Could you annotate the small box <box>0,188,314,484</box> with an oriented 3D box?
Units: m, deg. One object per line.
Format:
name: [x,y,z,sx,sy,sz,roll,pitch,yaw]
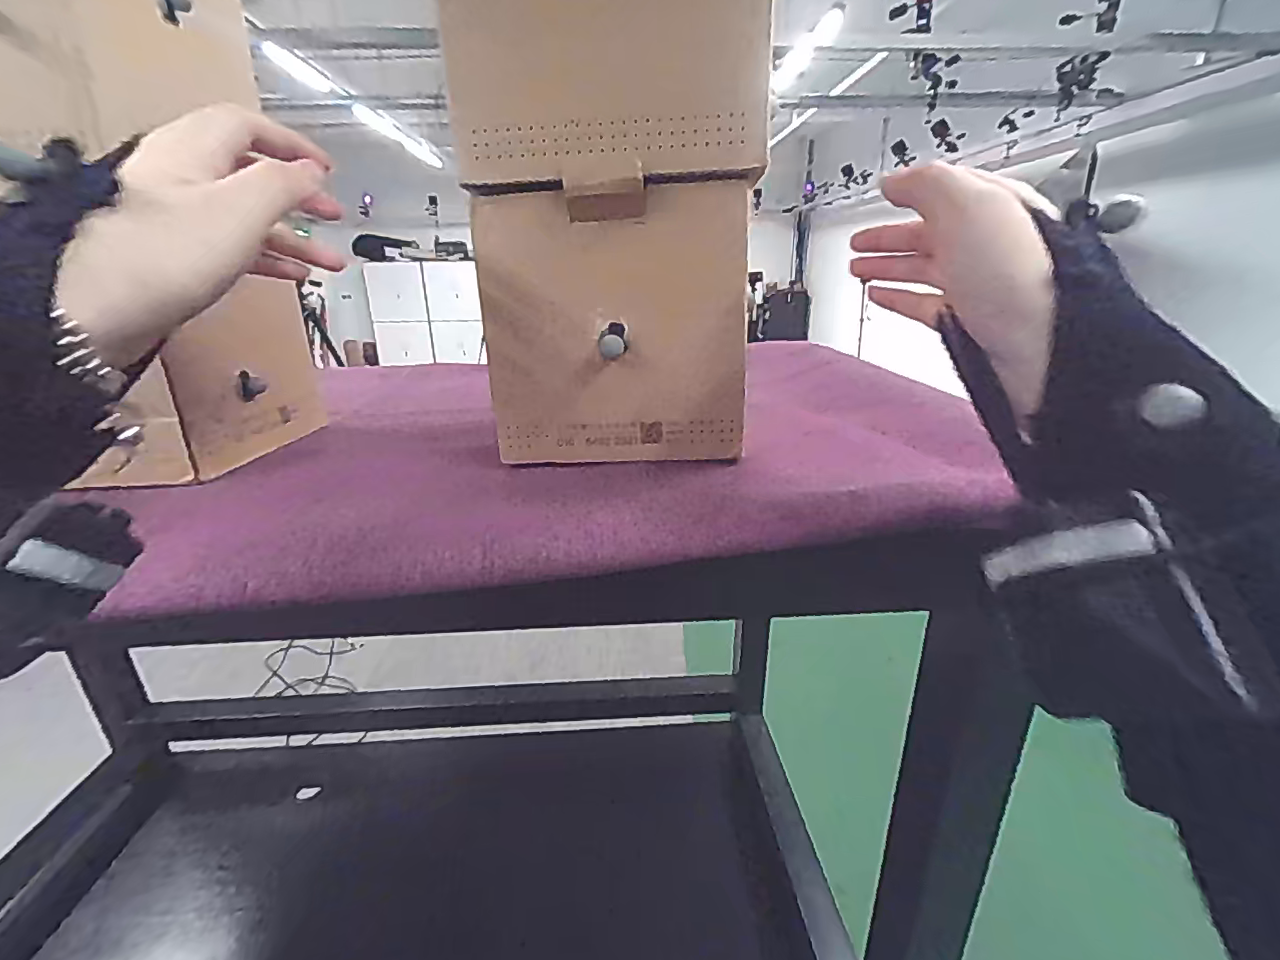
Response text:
small box: [-0.374,-0.098,0.385,0.179,0.176,0.168,-2,19,-3]

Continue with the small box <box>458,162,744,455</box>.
small box: [-0.013,-0.118,0.404,0.168,0.176,0.179,-1,19,4]

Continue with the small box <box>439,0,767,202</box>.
small box: [-0.017,-0.271,0.342,0.179,0.176,0.168,-1,18,3]

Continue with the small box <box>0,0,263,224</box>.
small box: [-0.370,-0.251,0.331,0.168,0.176,0.179,-1,18,-6]
